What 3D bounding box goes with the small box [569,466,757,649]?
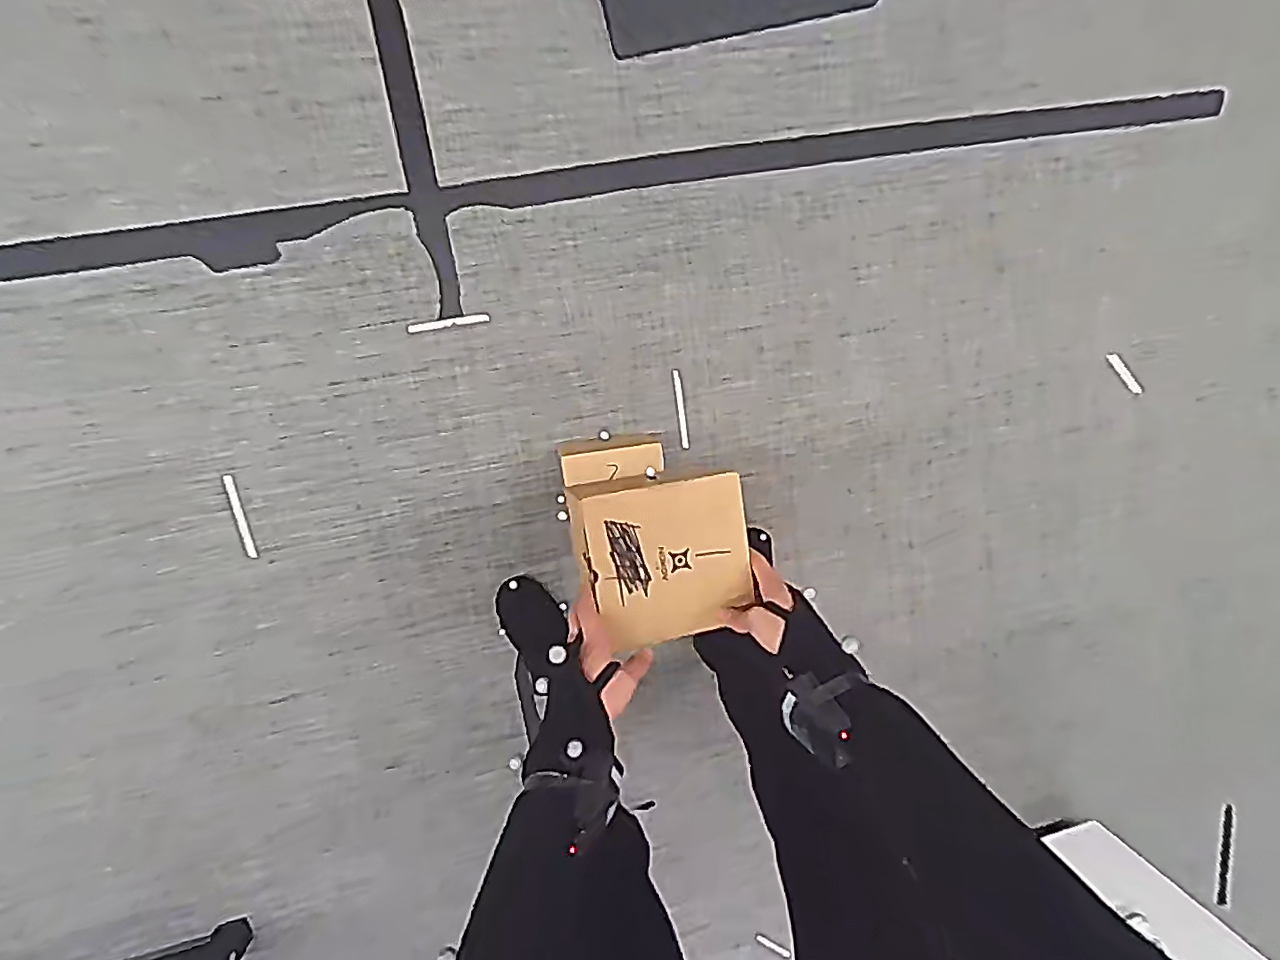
[{"bbox_3d":[0.015,0.076,0.637,0.179,0.176,0.168,-10,95,-13],"label":"small box"}]
